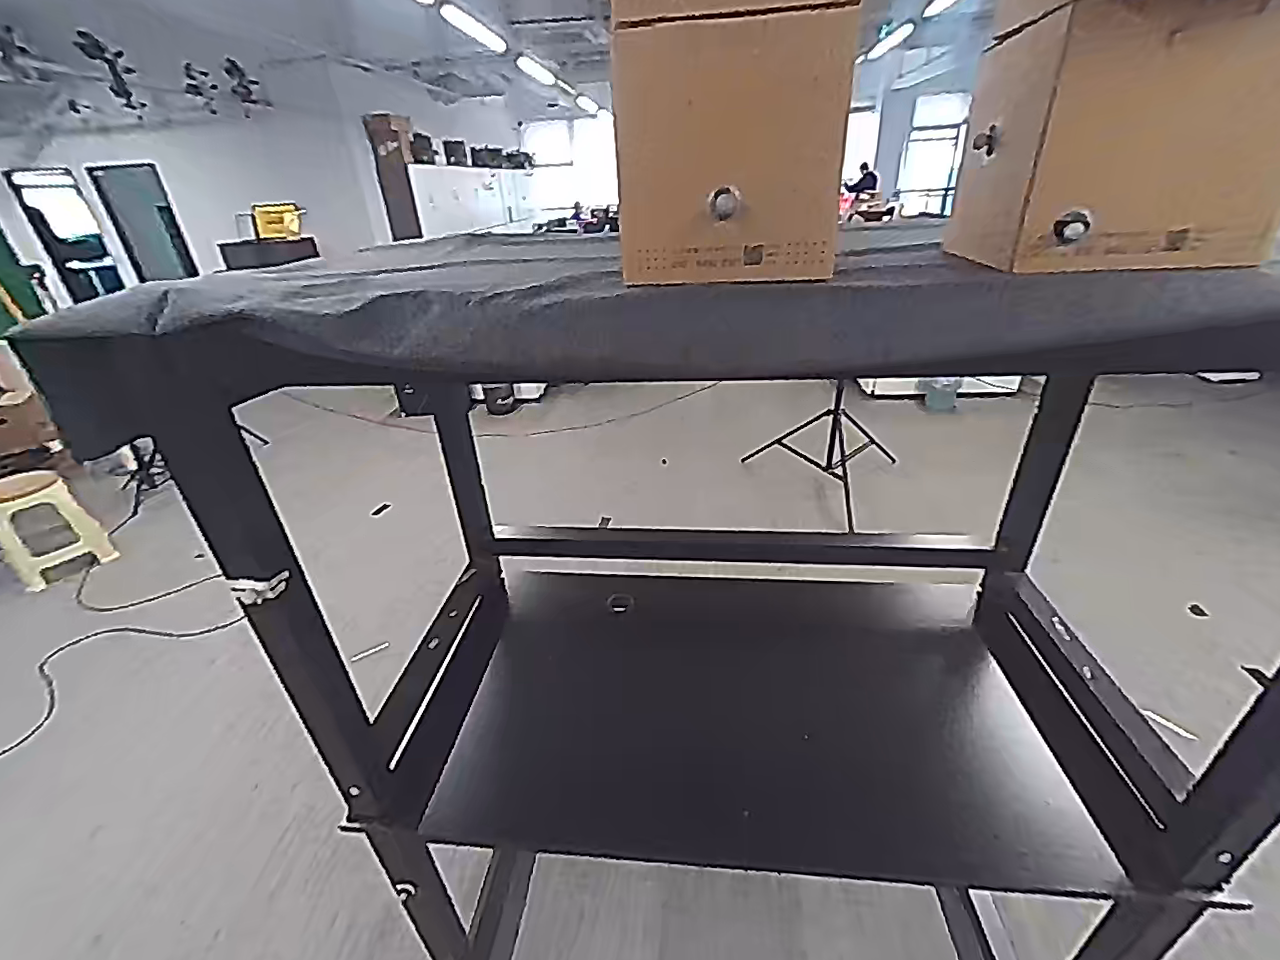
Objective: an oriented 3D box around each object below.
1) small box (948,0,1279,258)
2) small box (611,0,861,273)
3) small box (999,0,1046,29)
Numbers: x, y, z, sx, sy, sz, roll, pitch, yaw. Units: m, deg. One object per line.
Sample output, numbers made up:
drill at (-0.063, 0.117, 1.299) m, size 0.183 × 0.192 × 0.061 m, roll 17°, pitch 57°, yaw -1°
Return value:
small box at (0.372, -0.272, 0.430) m, size 0.168 × 0.176 × 0.179 m, roll 2°, pitch 27°, yaw 10°
small box at (0.074, -0.274, 0.459) m, size 0.168 × 0.176 × 0.179 m, roll 1°, pitch 27°, yaw 8°
small box at (0.360, -0.400, 0.325) m, size 0.168 × 0.176 × 0.179 m, roll 0°, pitch 28°, yaw 4°
